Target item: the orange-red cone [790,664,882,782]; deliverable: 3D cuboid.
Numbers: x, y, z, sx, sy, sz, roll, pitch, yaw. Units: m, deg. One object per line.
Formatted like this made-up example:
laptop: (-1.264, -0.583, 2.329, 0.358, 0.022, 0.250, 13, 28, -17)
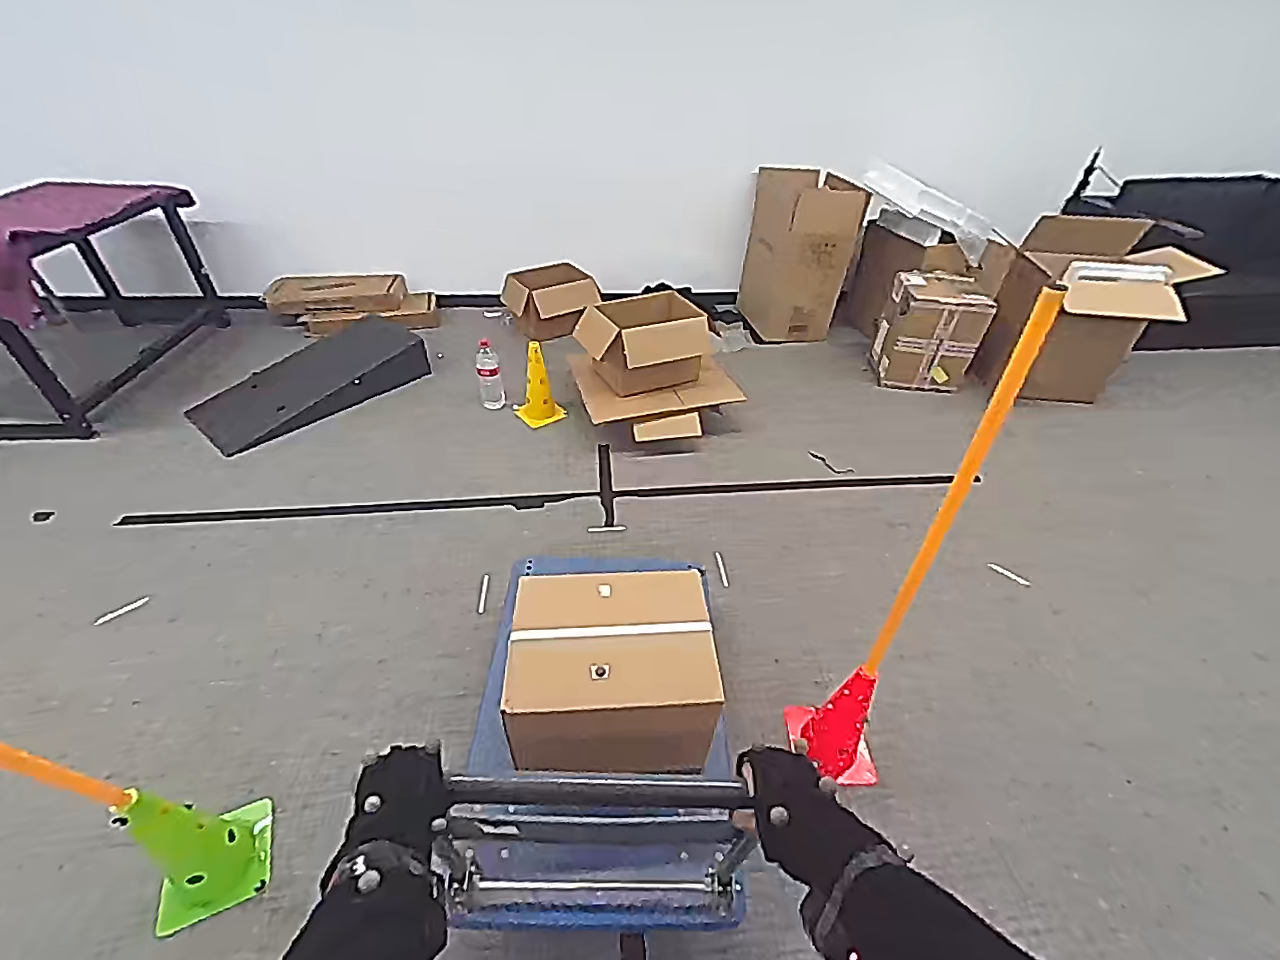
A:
orange-red cone: (0.510, 0.554, 1.305, 0.199, 0.360, 0.198, 3, 41, -1)
